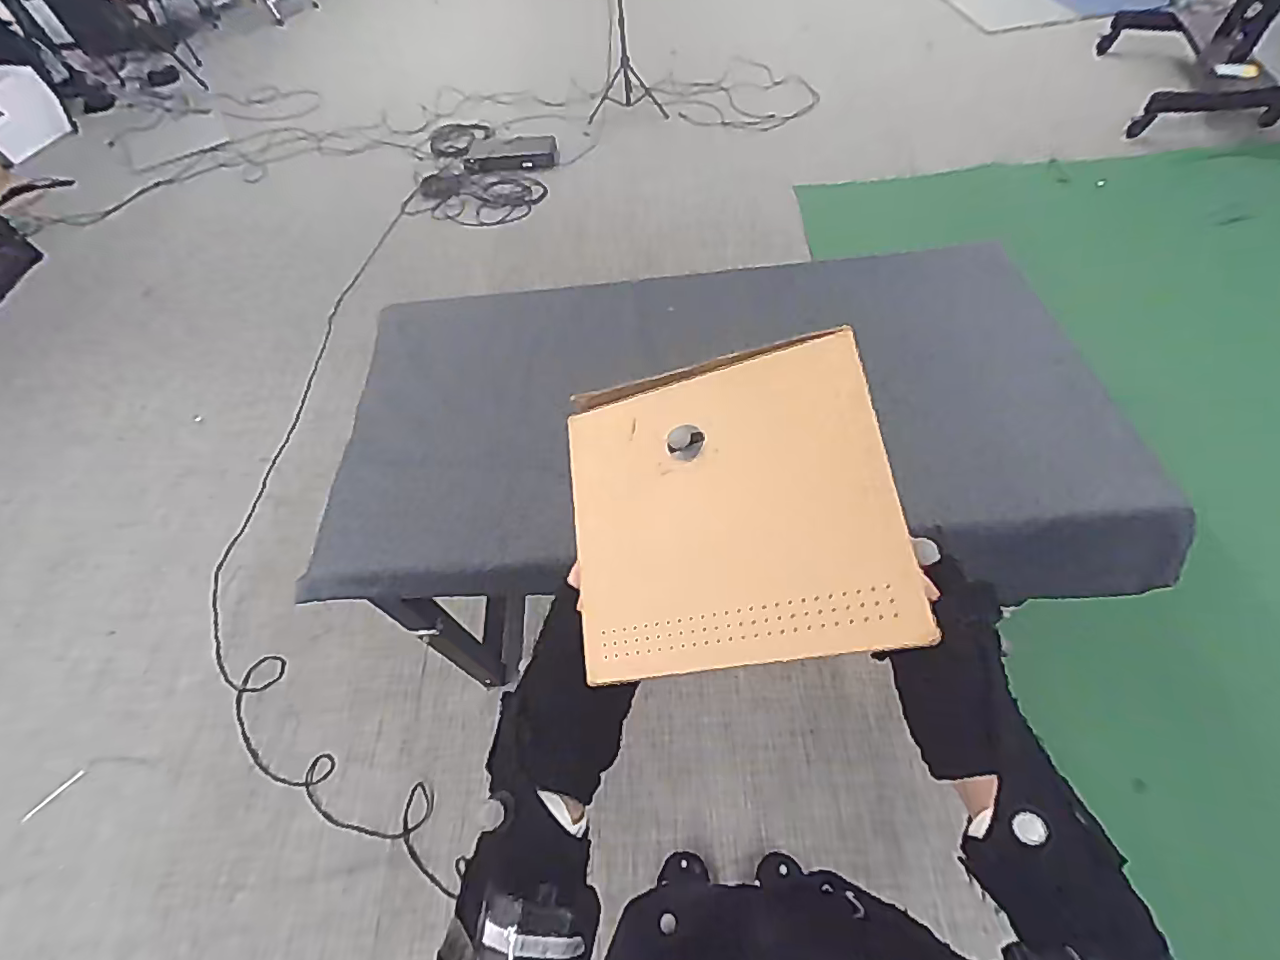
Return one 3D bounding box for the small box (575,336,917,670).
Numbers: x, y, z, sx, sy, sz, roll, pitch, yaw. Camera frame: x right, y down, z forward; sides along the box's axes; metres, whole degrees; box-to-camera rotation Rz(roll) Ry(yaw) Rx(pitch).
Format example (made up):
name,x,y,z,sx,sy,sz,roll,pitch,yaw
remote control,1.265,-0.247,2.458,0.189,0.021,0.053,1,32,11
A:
name,x,y,z,sx,sy,sz,roll,pitch,yaw
small box,0.073,0.036,0.378,0.179,0.168,0.176,-14,68,20
